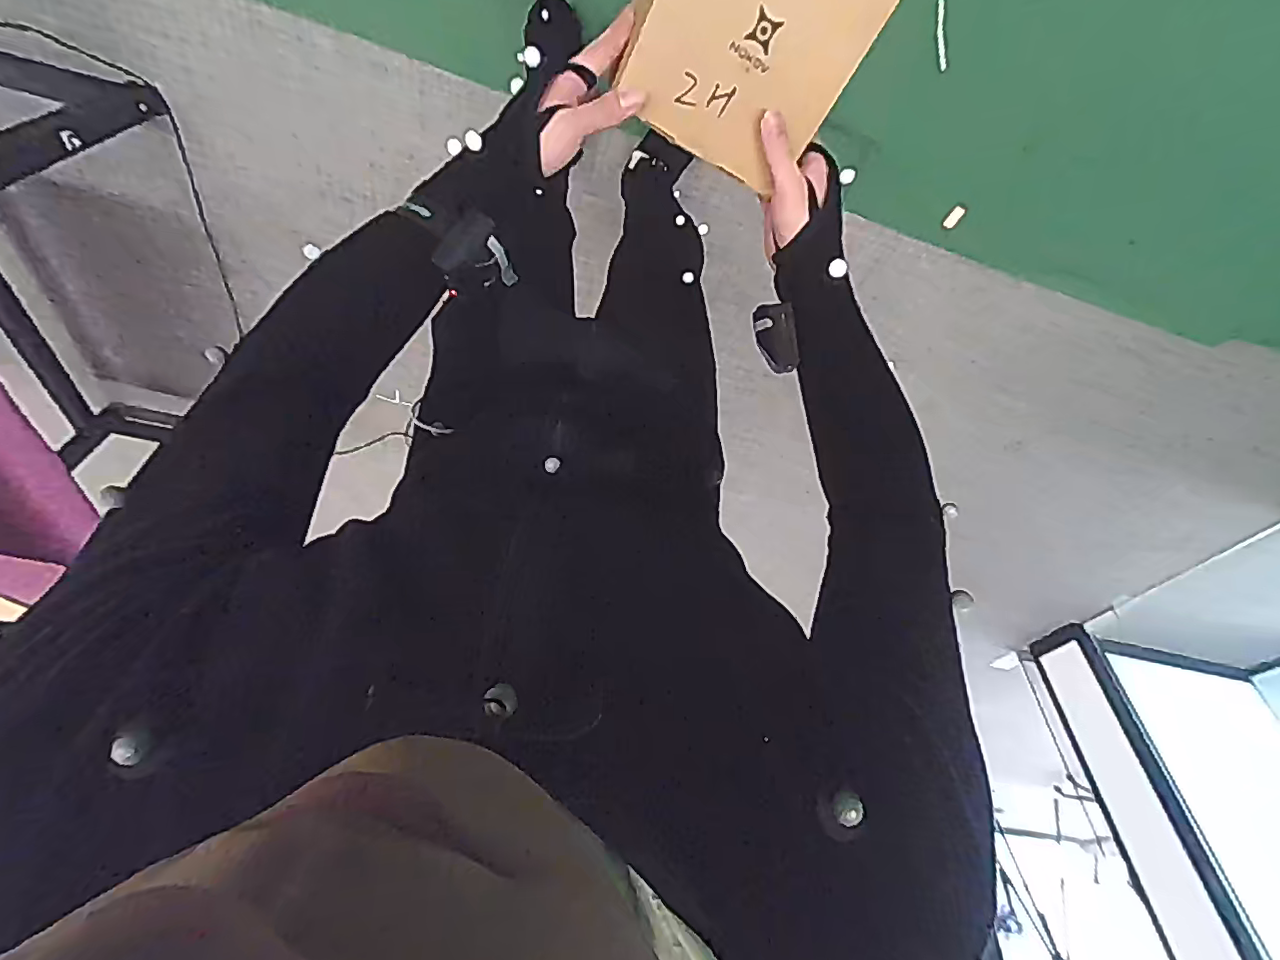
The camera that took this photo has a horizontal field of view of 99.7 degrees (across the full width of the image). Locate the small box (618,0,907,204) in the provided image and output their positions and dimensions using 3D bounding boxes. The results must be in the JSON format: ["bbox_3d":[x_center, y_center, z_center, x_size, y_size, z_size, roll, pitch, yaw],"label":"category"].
[{"bbox_3d":[0.087,-0.391,0.477,0.168,0.176,0.179,19,130,-23],"label":"small box"}]
